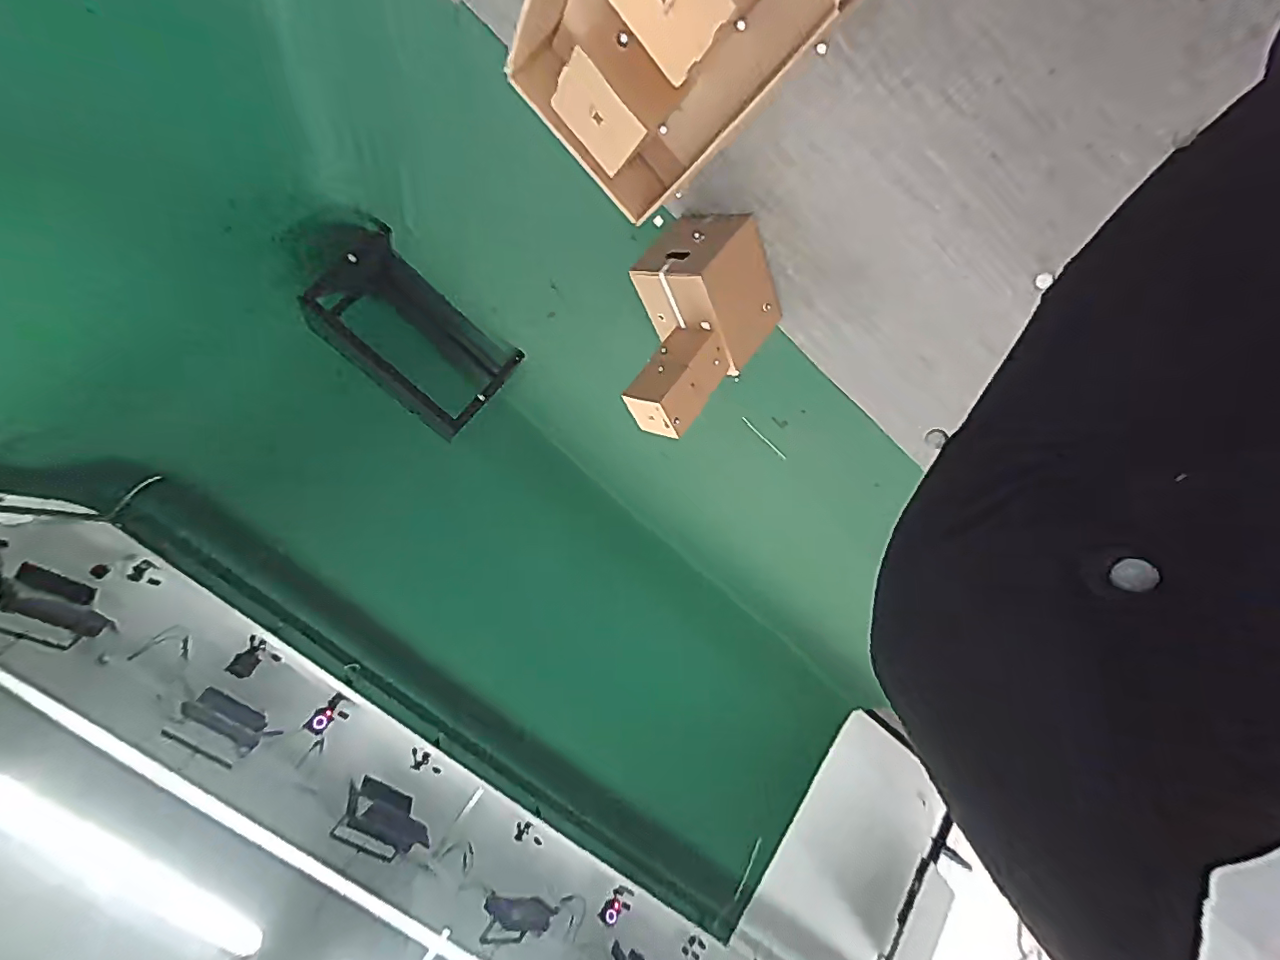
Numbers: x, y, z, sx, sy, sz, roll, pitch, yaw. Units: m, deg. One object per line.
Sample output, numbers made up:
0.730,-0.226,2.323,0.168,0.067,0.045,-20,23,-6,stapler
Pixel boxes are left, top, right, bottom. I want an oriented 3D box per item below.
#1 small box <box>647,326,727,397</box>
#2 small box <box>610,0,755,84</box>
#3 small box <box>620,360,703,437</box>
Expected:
0.161,-0.396,1.815,0.179,0.176,0.168,19,155,40,small box
0.079,-0.744,0.781,0.179,0.176,0.168,42,161,-19,small box
0.075,-0.269,1.756,0.179,0.176,0.168,20,155,41,small box
